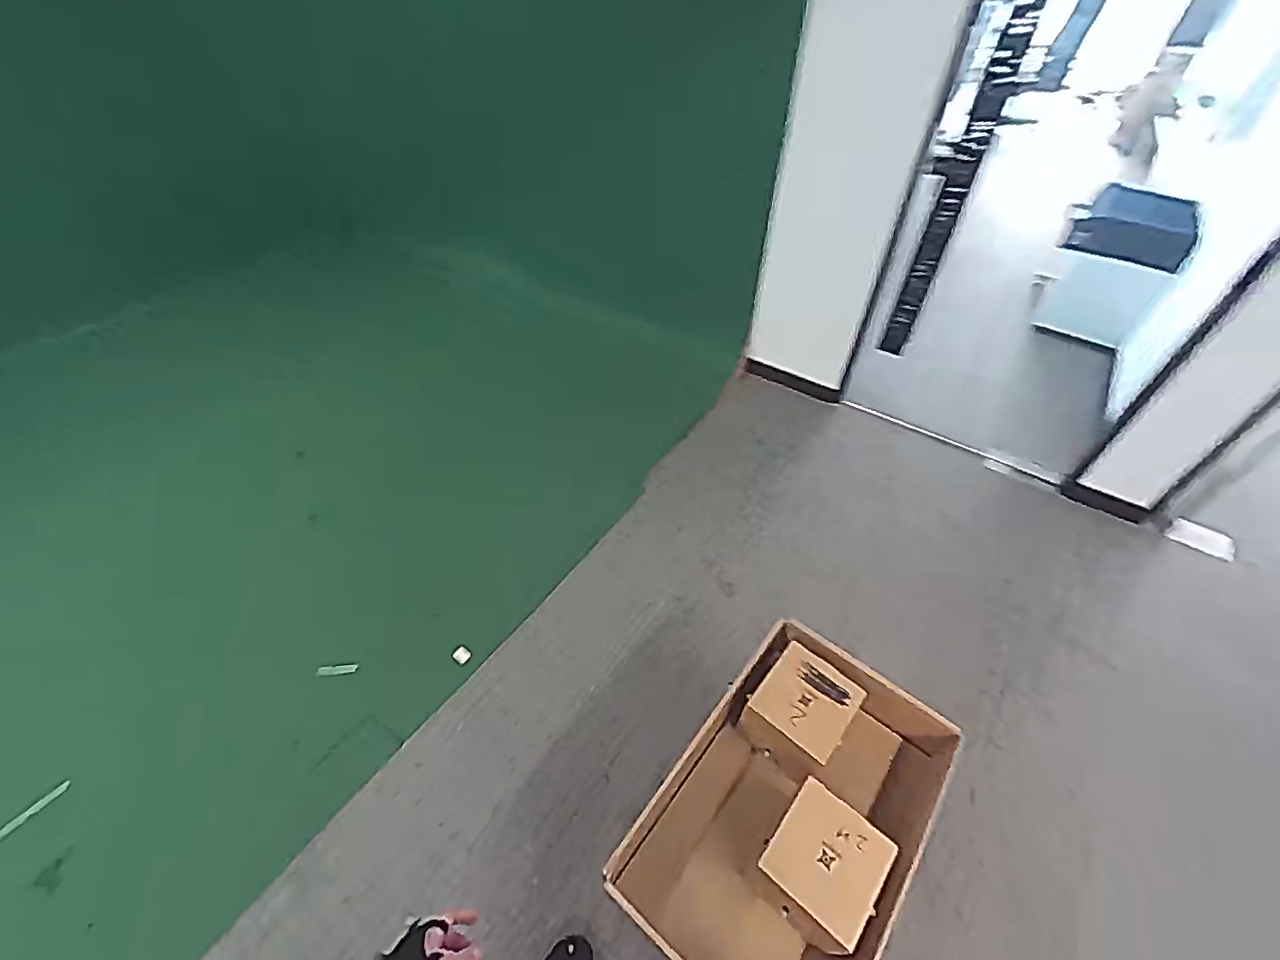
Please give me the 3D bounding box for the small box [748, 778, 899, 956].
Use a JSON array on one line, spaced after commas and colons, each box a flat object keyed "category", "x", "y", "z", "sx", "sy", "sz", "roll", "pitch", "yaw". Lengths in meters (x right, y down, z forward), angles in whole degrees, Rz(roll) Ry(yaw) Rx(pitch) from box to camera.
[{"category": "small box", "x": 0.300, "y": 0.656, "z": 0.919, "sx": 0.168, "sy": 0.176, "sz": 0.179, "roll": 35, "pitch": 57, "yaw": 25}]
